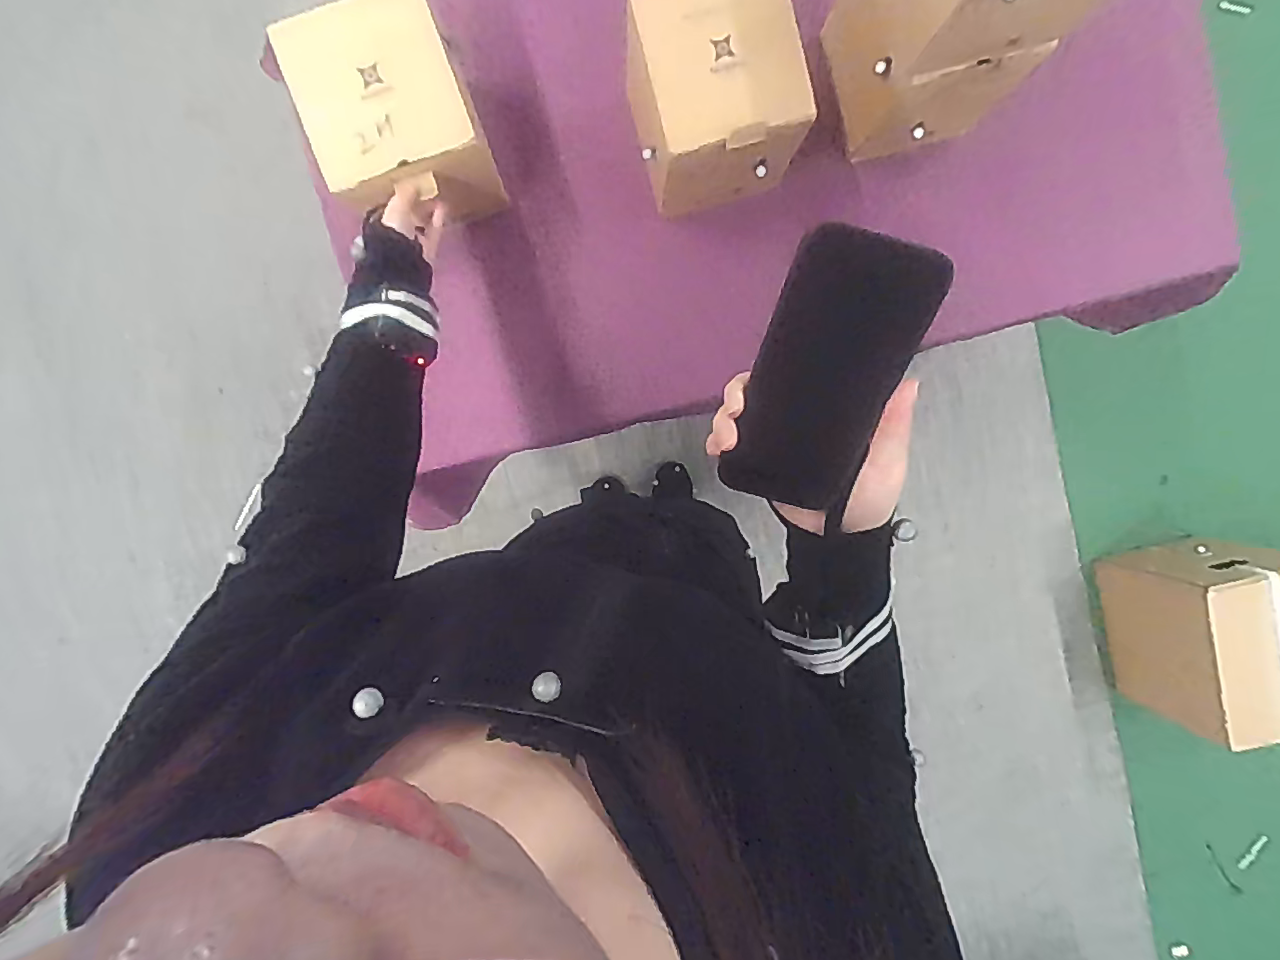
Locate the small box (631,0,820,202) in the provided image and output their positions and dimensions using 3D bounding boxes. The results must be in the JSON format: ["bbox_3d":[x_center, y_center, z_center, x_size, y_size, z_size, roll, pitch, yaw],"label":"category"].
[{"bbox_3d":[0.090,-0.457,0.641,0.168,0.176,0.179,-15,95,0],"label":"small box"}]

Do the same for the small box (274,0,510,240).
[{"bbox_3d":[-0.272,-0.417,0.636,0.168,0.176,0.179,-20,96,1],"label":"small box"}]

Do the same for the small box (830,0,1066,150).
[{"bbox_3d":[0.344,-0.534,0.637,0.168,0.176,0.179,-15,96,1],"label":"small box"}]
